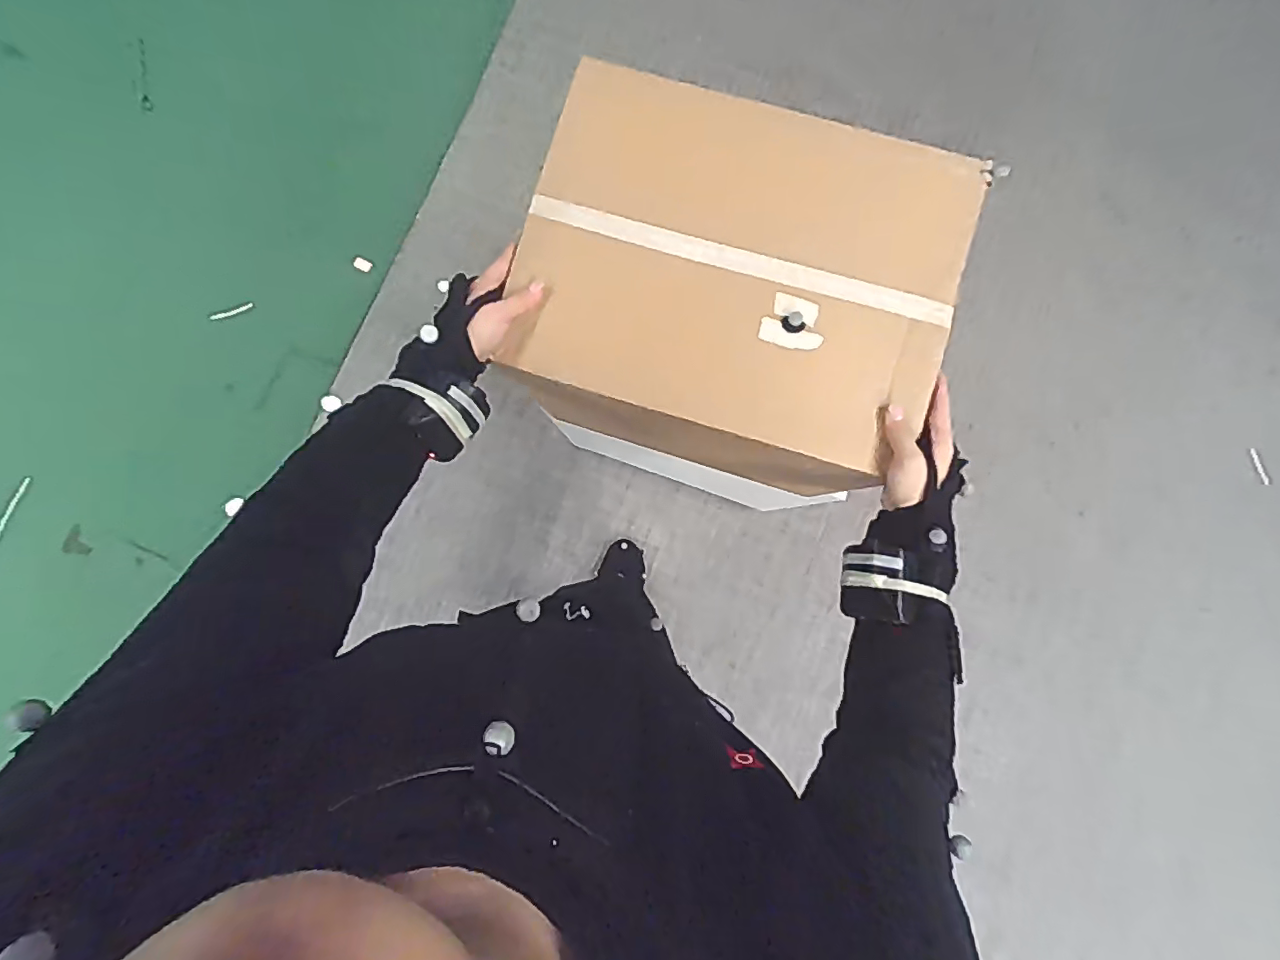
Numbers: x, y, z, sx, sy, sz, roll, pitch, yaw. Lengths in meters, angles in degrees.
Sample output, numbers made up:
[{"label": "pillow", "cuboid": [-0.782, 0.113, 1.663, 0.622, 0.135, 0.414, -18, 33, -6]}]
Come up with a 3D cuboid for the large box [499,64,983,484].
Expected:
[{"label": "large box", "cuboid": [0.097, -0.200, 0.658, 0.408, 0.320, 0.320, 16, 87, 2]}]
